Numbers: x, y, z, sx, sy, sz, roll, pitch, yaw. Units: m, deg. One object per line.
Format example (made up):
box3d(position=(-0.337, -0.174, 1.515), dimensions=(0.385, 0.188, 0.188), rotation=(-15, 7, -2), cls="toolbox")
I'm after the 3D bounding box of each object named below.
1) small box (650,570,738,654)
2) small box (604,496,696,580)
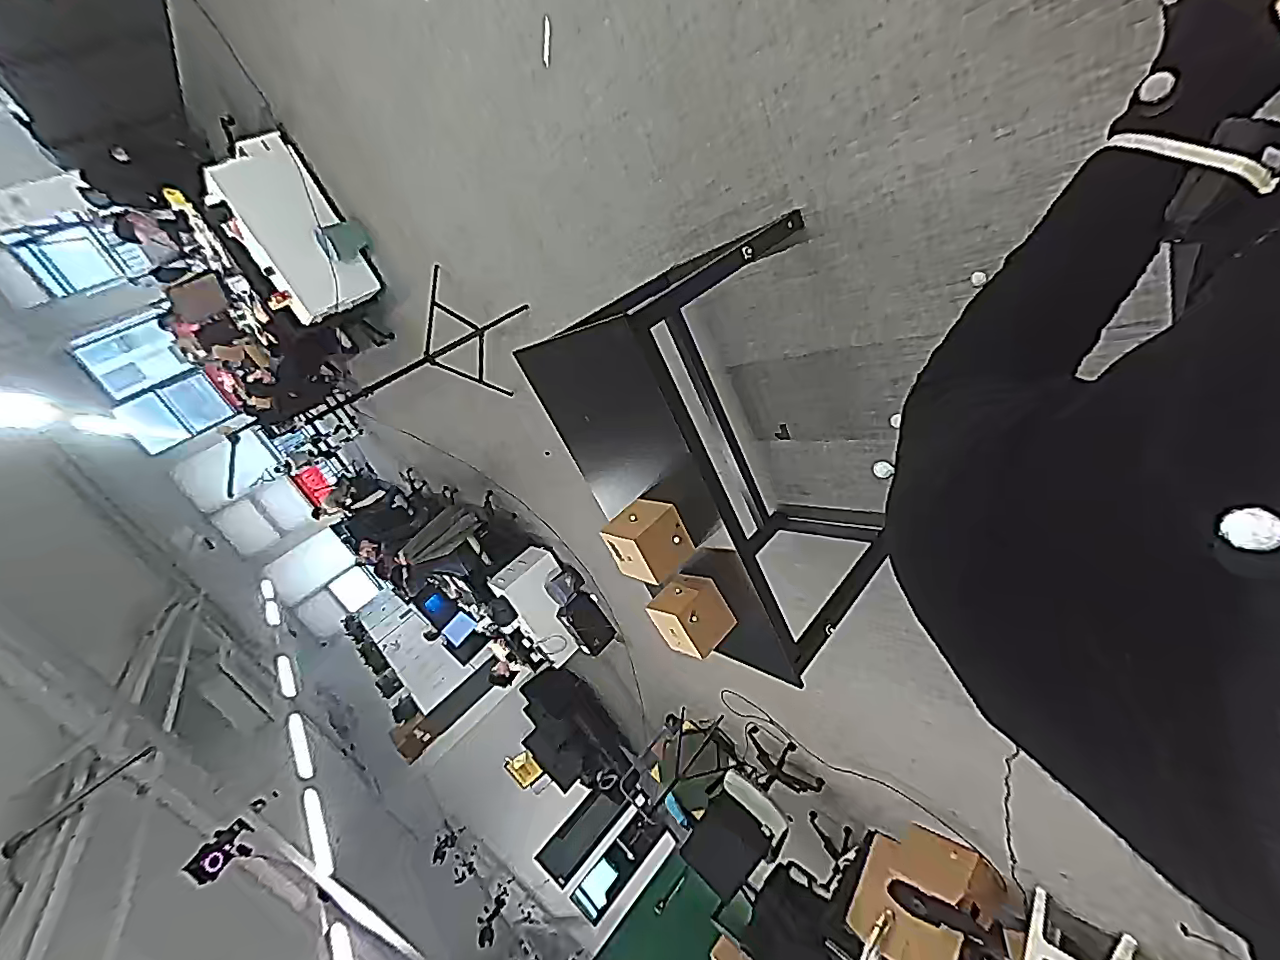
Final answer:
box3d(position=(0.169, 0.400, 1.672), dimensions=(0.168, 0.176, 0.179), rotation=(-5, 121, 58), cls="small box")
box3d(position=(0.032, 0.162, 1.579), dimensions=(0.179, 0.176, 0.168), rotation=(6, 130, 53), cls="small box")
